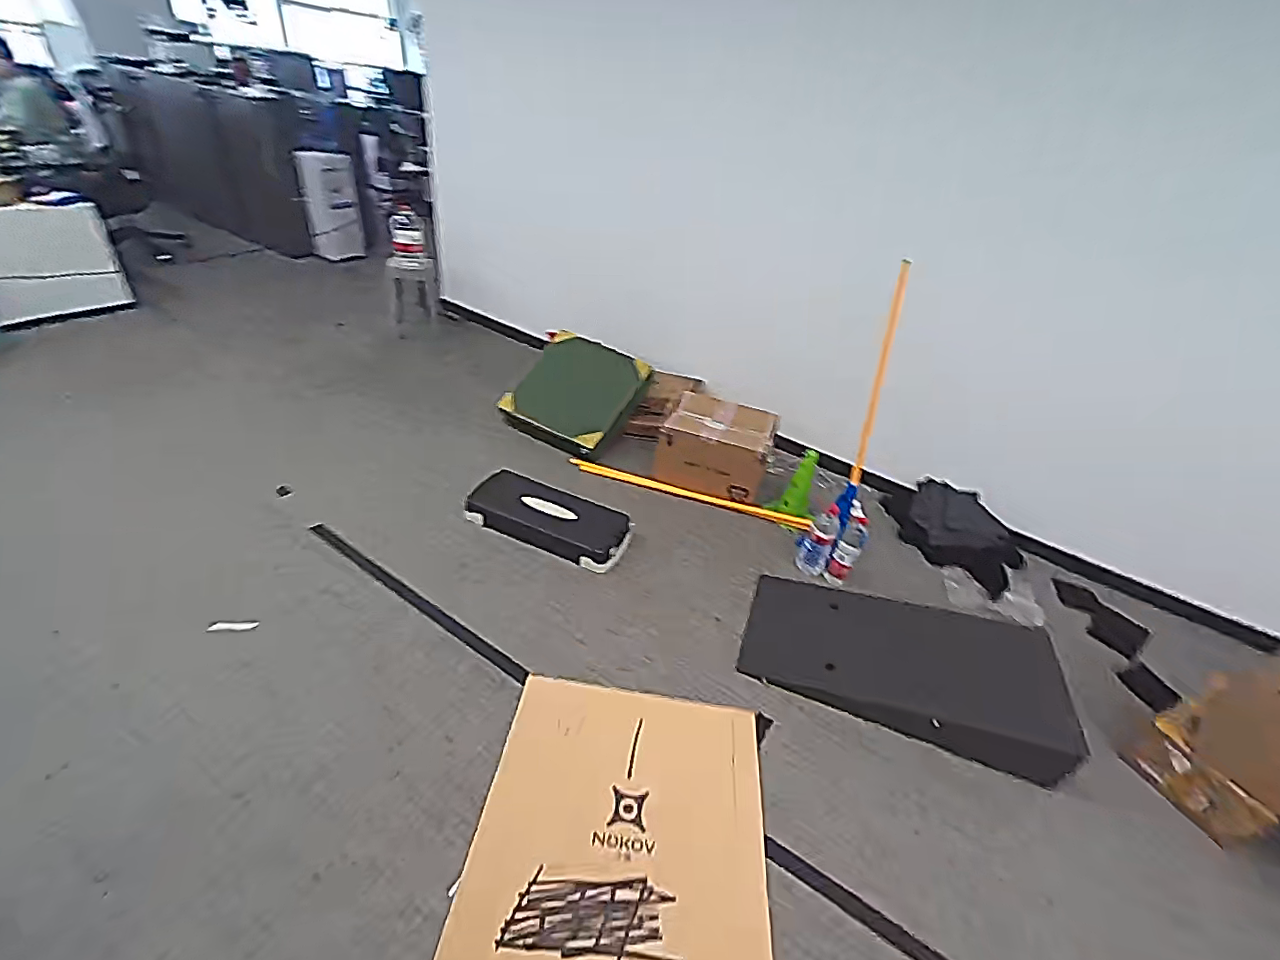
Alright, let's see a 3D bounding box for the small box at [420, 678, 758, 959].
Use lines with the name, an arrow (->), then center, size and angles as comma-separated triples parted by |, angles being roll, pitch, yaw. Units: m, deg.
small box -> -0.024, 0.266, 0.354 | 0.168, 0.176, 0.179 | 9, 34, 2
